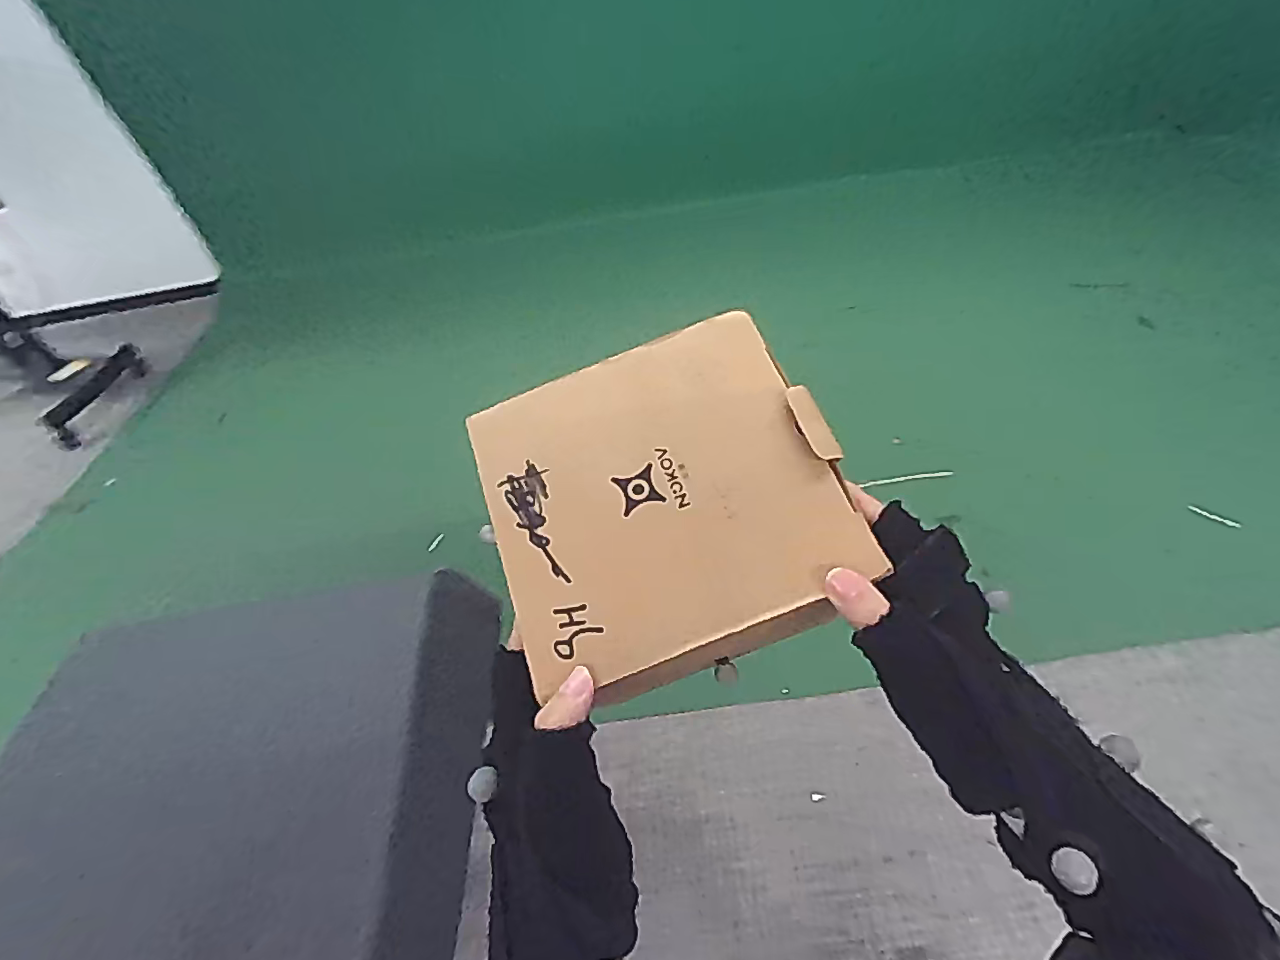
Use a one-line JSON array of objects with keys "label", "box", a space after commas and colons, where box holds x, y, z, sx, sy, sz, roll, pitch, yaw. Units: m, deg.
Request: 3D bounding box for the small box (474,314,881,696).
[{"label": "small box", "box": [0.019, 0.031, 0.355, 0.179, 0.176, 0.168, -20, 66, 1]}]
